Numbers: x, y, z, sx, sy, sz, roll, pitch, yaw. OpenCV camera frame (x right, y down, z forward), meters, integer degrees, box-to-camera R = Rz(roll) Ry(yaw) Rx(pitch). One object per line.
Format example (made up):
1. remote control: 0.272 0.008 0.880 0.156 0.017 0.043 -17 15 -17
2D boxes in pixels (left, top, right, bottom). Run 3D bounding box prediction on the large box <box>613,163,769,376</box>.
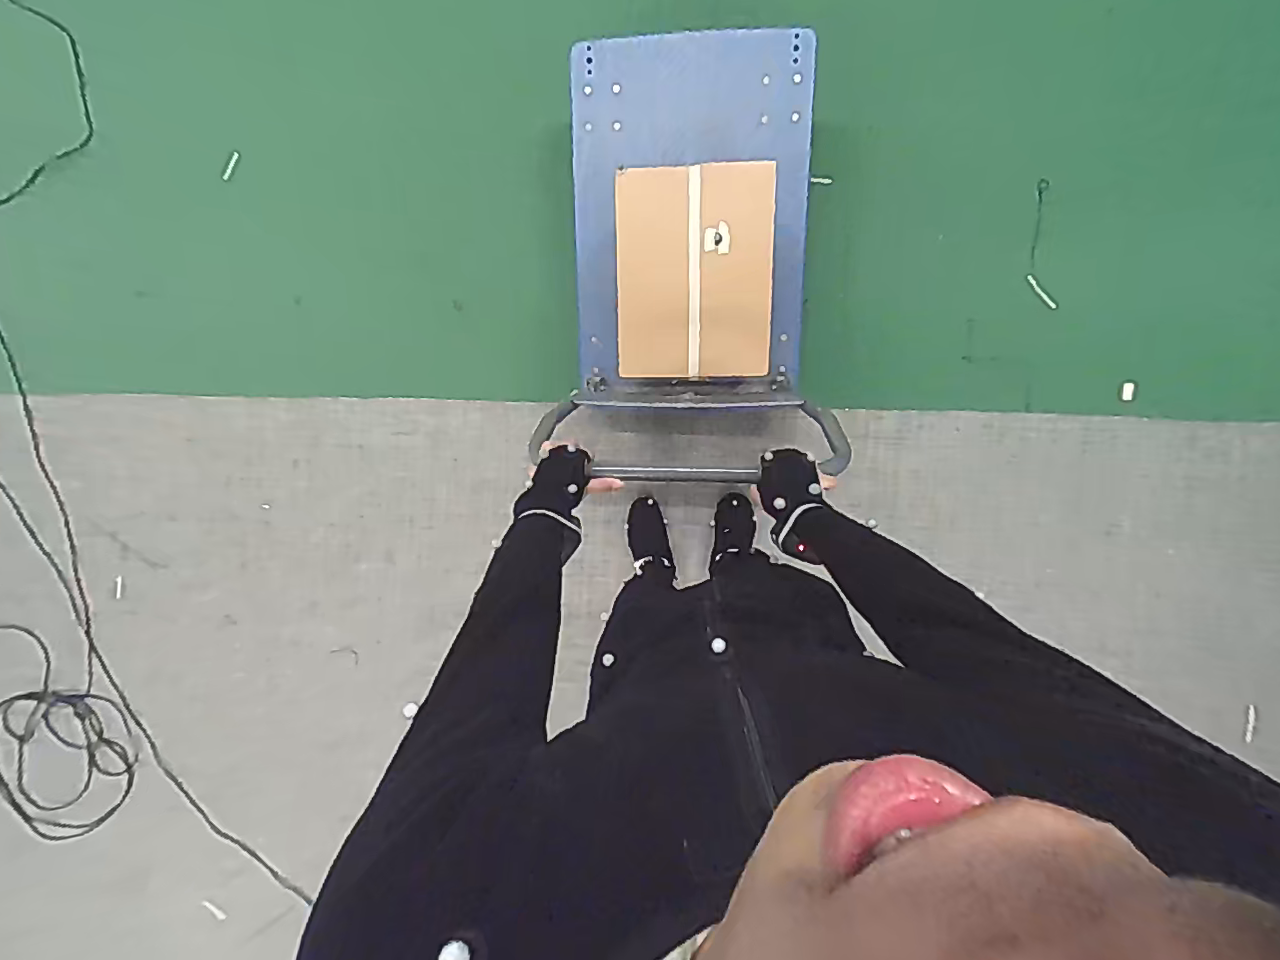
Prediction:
1. large box: 0.118 -0.448 1.243 0.320 0.320 0.408 1 102 5
